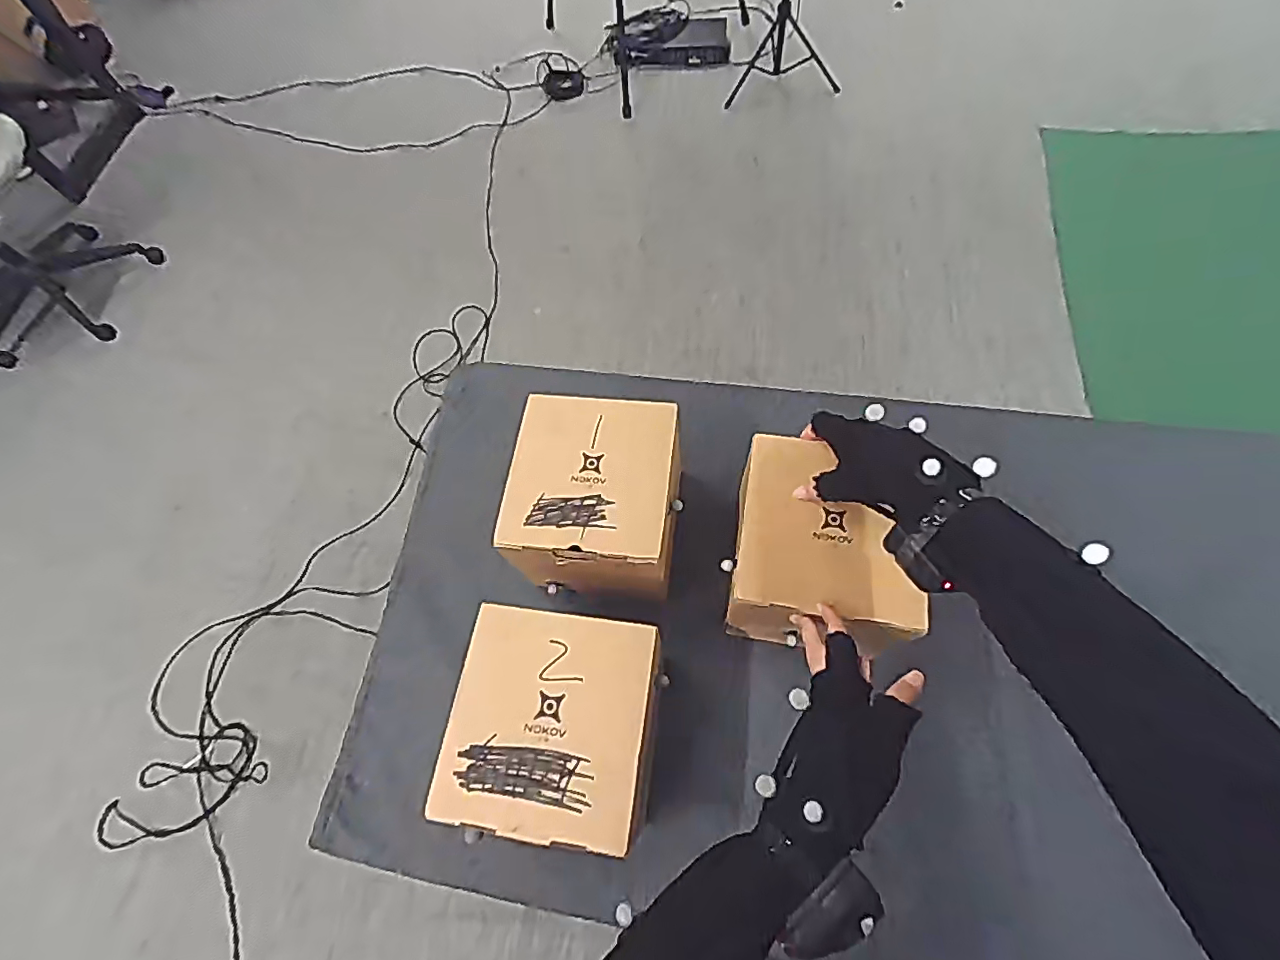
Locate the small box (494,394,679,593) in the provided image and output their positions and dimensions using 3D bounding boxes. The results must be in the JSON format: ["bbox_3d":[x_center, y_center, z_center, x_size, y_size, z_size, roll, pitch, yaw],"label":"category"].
[{"bbox_3d":[-0.045,0.023,0.620,0.168,0.176,0.179,5,66,7],"label":"small box"}]

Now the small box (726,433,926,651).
[{"bbox_3d":[0.186,0.073,0.579,0.168,0.176,0.179,8,68,8],"label":"small box"}]
